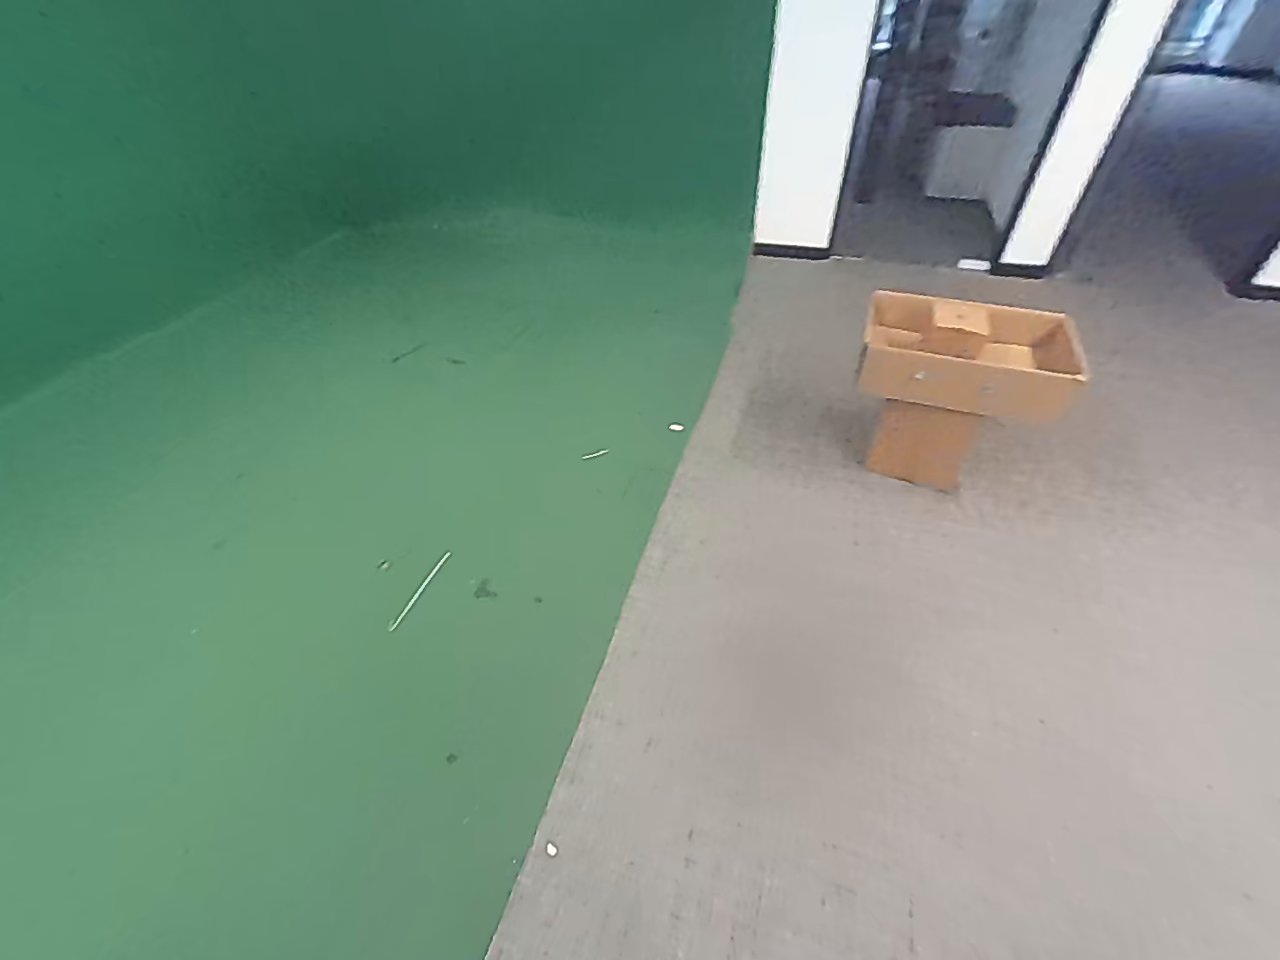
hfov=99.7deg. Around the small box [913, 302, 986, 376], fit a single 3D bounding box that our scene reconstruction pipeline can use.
[{"bbox_3d":[1.031,-0.472,1.811,0.168,0.176,0.179,15,45,13],"label":"small box"}]
